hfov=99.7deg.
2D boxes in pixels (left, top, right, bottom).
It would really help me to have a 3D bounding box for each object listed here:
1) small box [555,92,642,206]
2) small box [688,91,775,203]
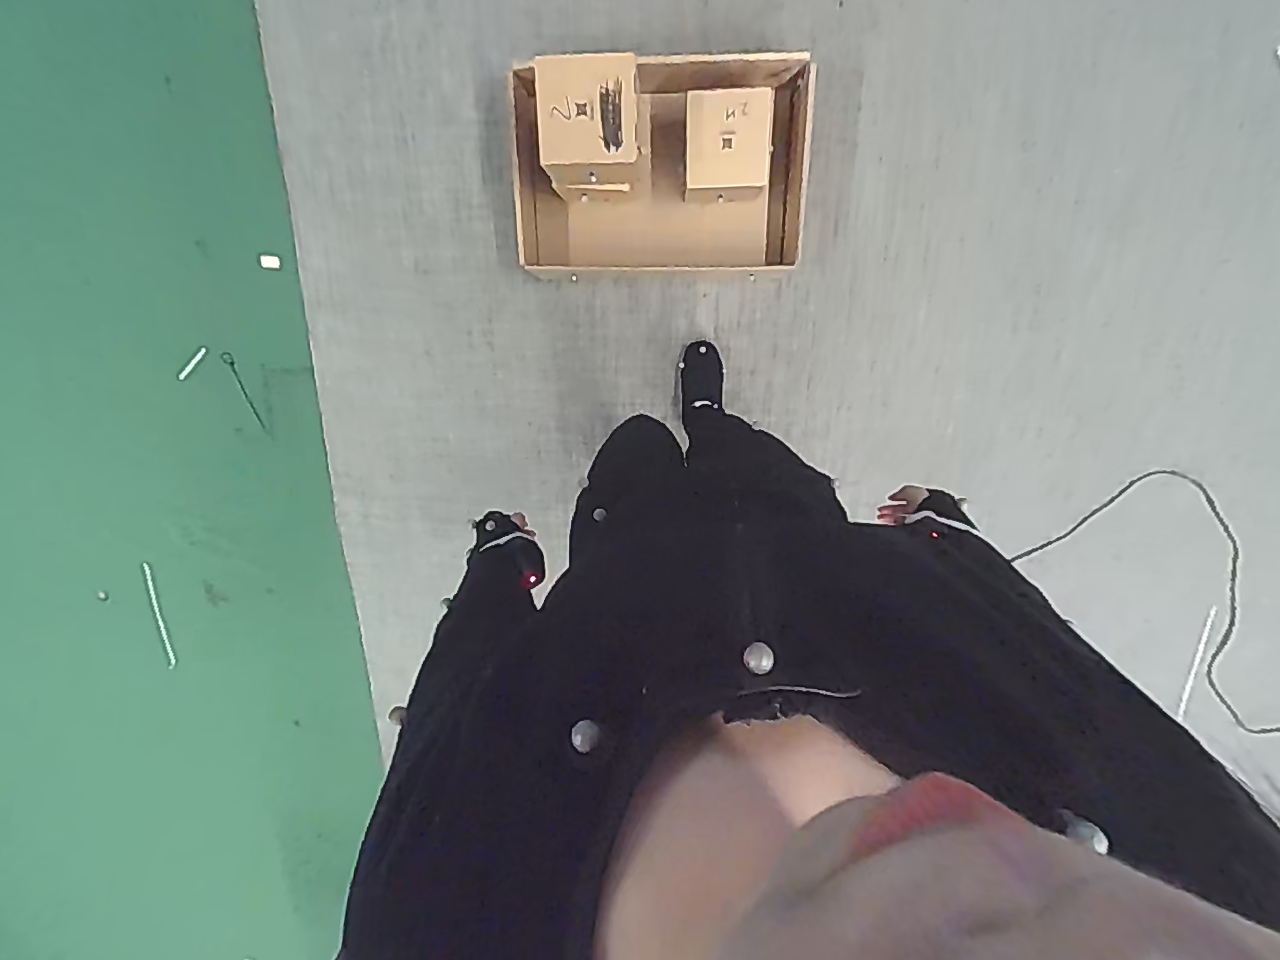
[{"bbox_3d":[-0.085,-0.707,1.175,0.168,0.176,0.179,4,107,1],"label":"small box"},{"bbox_3d":[0.188,-0.700,1.157,0.168,0.176,0.179,1,107,3],"label":"small box"}]
